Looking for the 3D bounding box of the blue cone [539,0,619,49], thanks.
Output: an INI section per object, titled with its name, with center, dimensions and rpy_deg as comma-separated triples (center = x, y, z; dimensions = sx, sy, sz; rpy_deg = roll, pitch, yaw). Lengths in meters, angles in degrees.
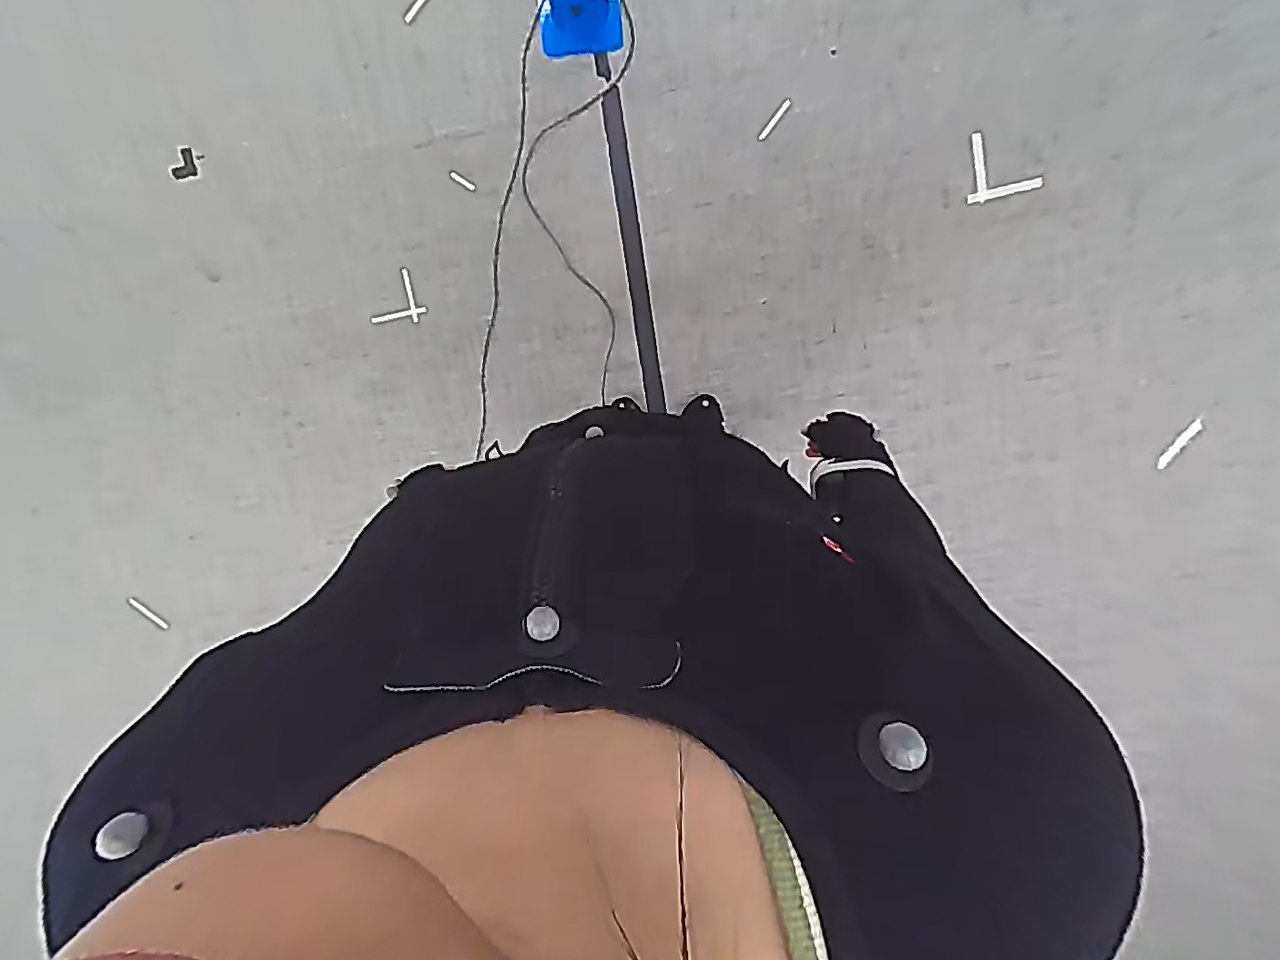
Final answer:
[blue cone]
center = -0.156, -1.097, 1.110
dimensions = 0.193, 0.380, 0.192
rpy_deg = -6, 100, 4
